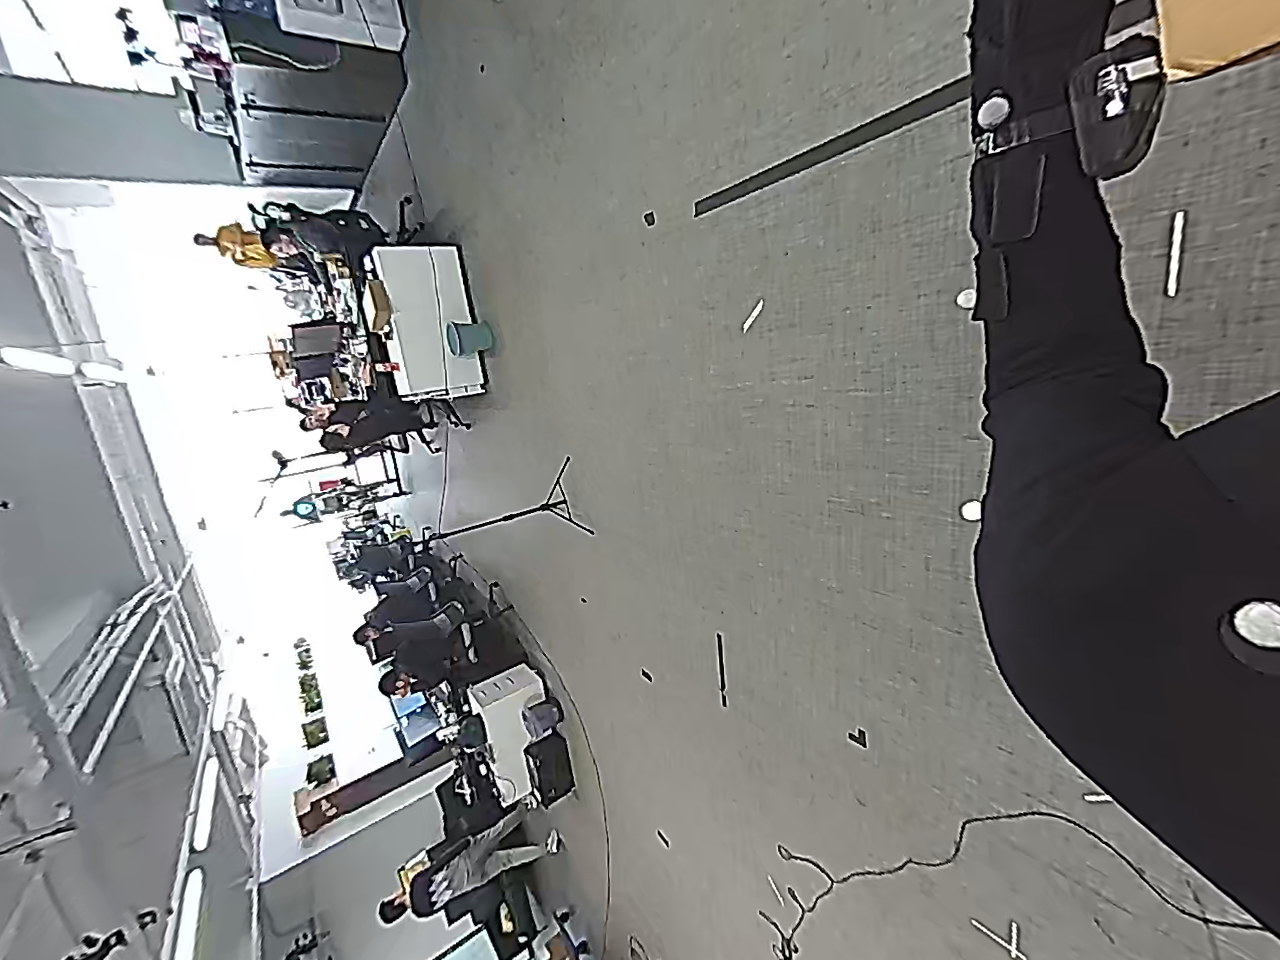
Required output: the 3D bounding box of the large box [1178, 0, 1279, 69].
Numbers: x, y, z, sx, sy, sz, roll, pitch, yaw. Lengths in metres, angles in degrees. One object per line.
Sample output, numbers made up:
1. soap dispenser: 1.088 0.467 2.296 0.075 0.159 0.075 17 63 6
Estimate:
1. large box: 0.453 -0.413 0.155 0.408 0.320 0.320 2 119 58
